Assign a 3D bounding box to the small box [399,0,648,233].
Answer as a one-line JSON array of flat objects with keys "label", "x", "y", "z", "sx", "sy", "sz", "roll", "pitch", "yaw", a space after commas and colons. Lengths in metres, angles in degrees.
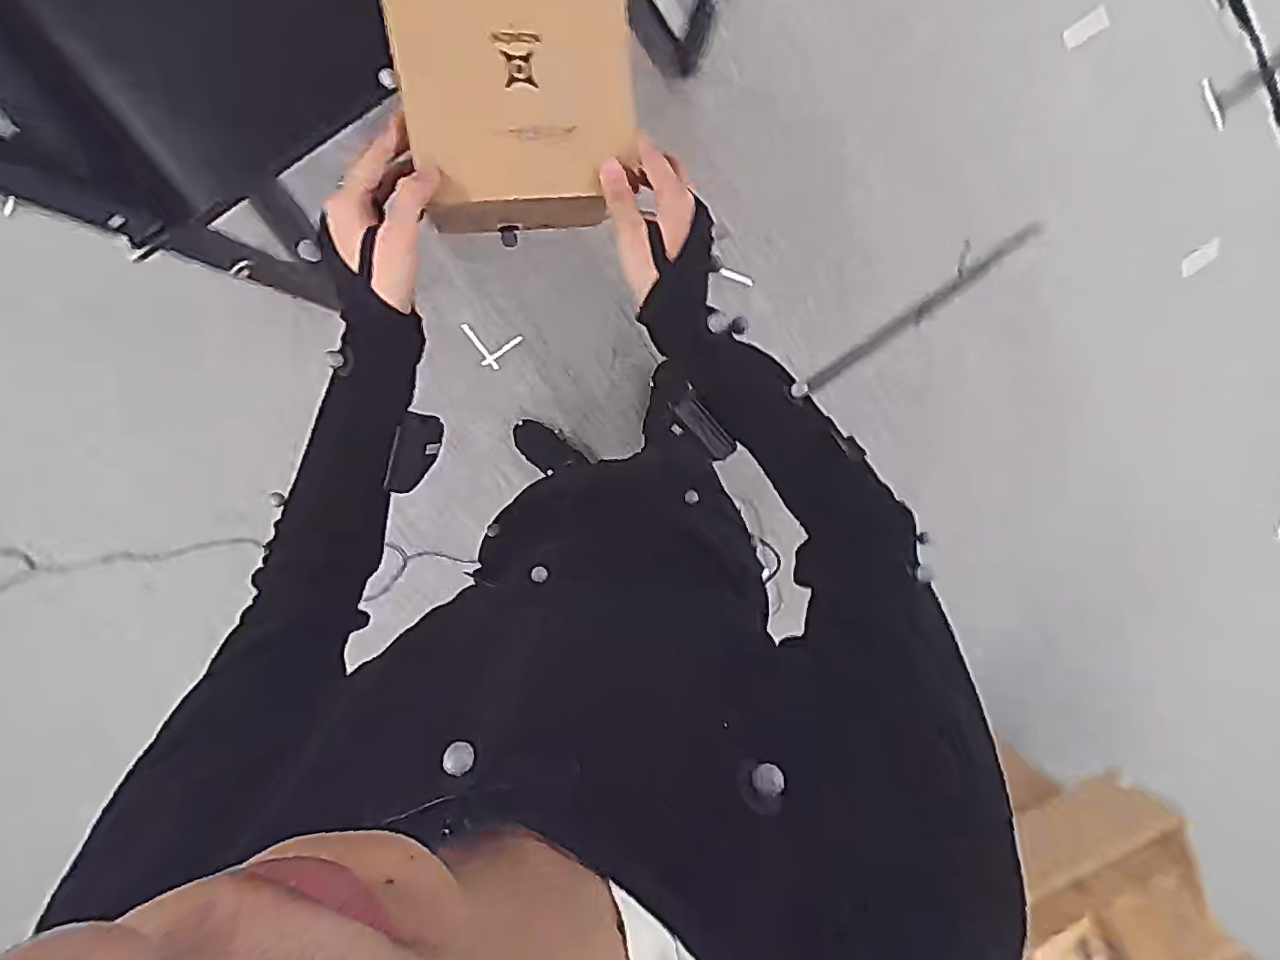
[{"label": "small box", "x": -0.099, "y": -0.319, "z": 0.453, "sx": 0.168, "sy": 0.176, "sz": 0.179, "roll": -9, "pitch": 107, "yaw": -12}]
